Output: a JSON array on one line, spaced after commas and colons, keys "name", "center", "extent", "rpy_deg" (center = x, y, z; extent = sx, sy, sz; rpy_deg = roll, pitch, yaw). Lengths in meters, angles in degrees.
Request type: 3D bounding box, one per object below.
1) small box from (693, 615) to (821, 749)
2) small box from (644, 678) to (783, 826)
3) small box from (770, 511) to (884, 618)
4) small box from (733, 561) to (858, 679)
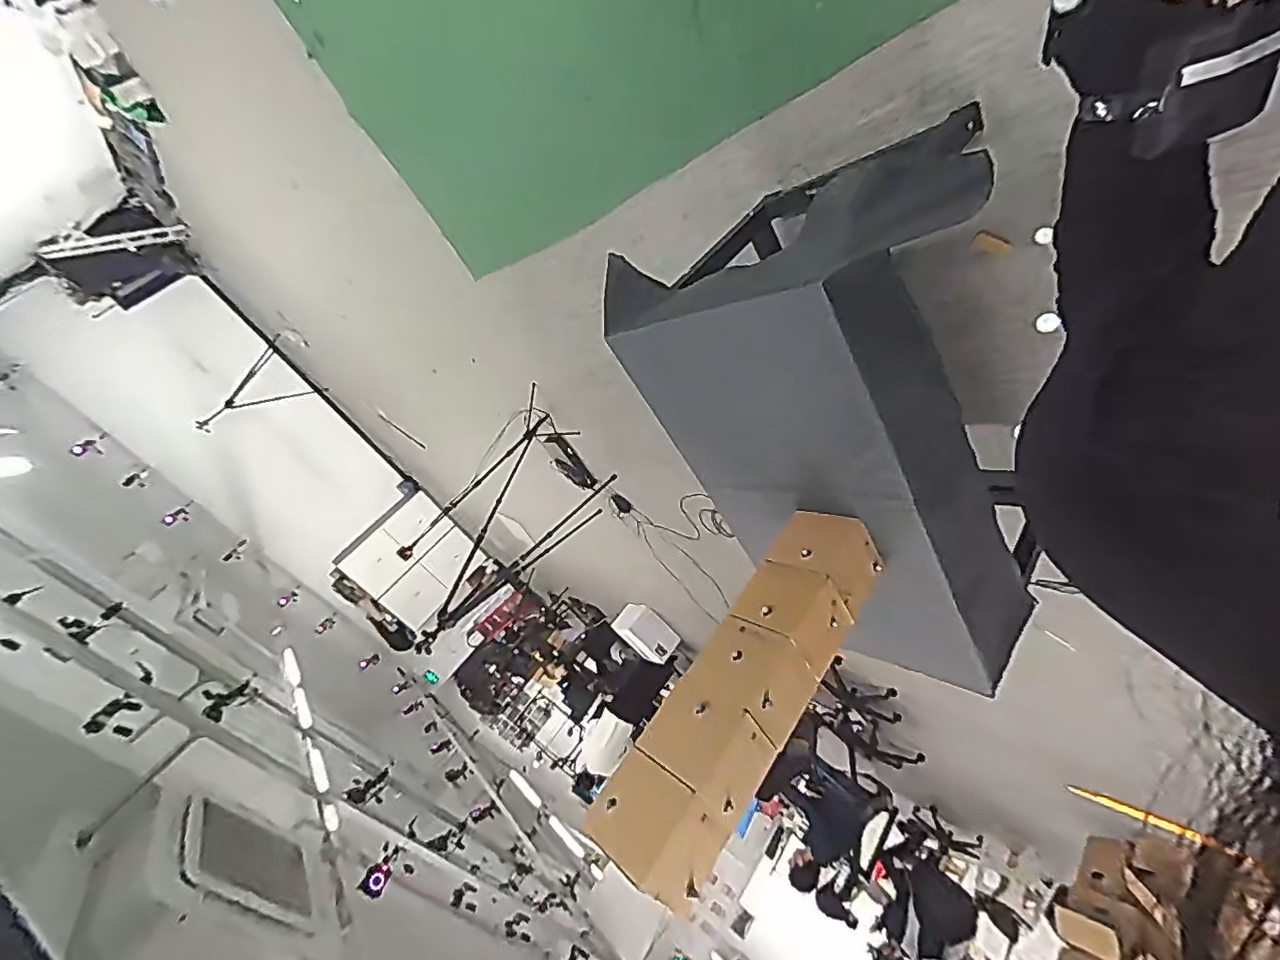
[{"name": "small box", "center": [0.248, 0.412, 1.131], "extent": [0.168, 0.176, 0.179], "rpy_deg": [8, 139, 52]}, {"name": "small box", "center": [0.146, 0.521, 1.063], "extent": [0.179, 0.176, 0.168], "rpy_deg": [9, 140, 51]}, {"name": "small box", "center": [0.445, 0.190, 1.266], "extent": [0.179, 0.176, 0.168], "rpy_deg": [7, 139, 54]}, {"name": "small box", "center": [0.347, 0.301, 1.200], "extent": [0.179, 0.176, 0.168], "rpy_deg": [6, 138, 53]}]
